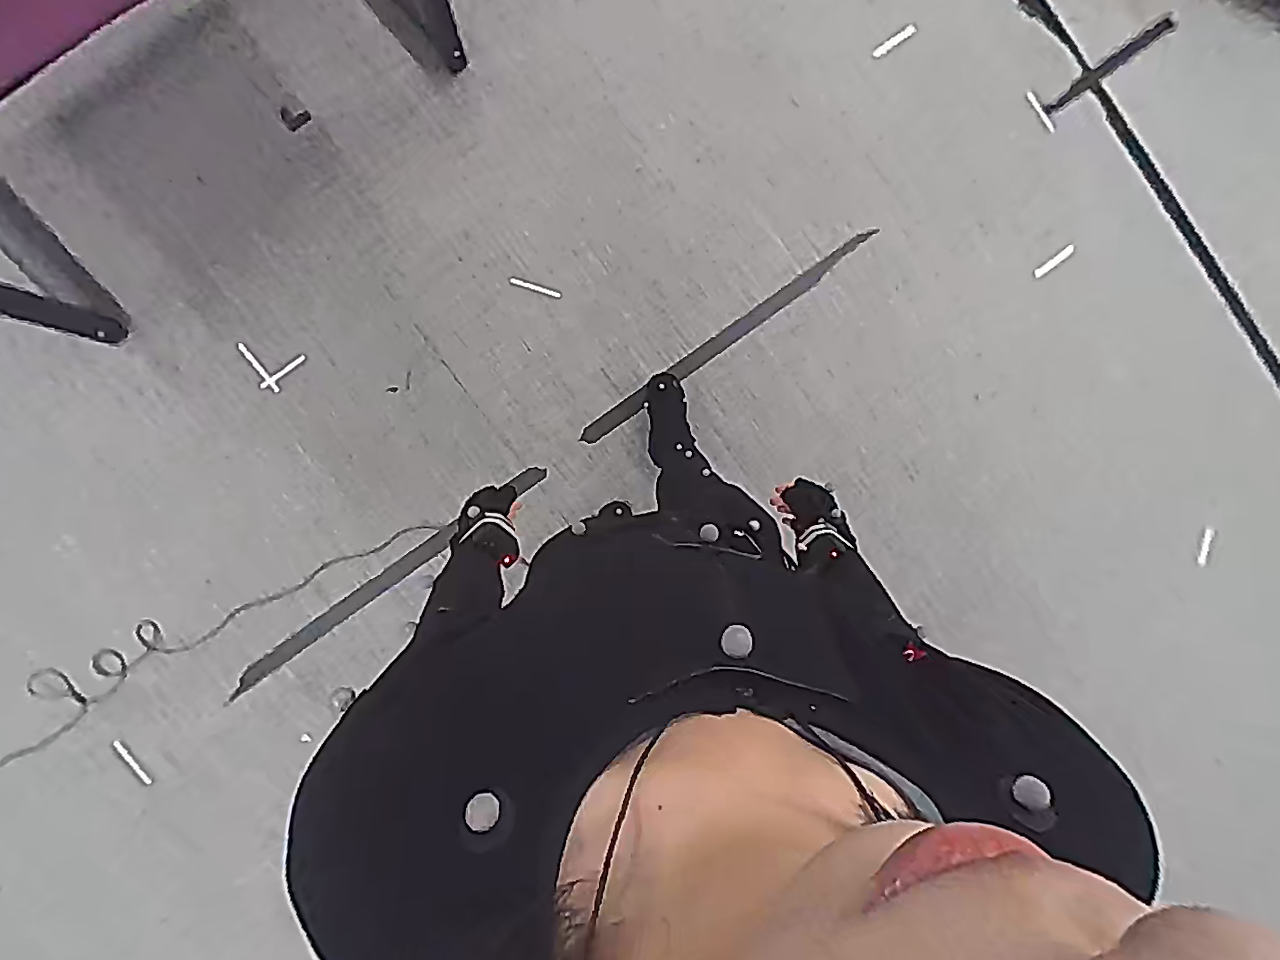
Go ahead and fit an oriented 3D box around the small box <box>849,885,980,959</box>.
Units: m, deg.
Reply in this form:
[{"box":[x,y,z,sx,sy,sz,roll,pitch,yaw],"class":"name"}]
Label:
[{"box":[0.476,0.815,0.865,0.168,0.176,0.179,-37,88,-4],"class":"small box"}]
